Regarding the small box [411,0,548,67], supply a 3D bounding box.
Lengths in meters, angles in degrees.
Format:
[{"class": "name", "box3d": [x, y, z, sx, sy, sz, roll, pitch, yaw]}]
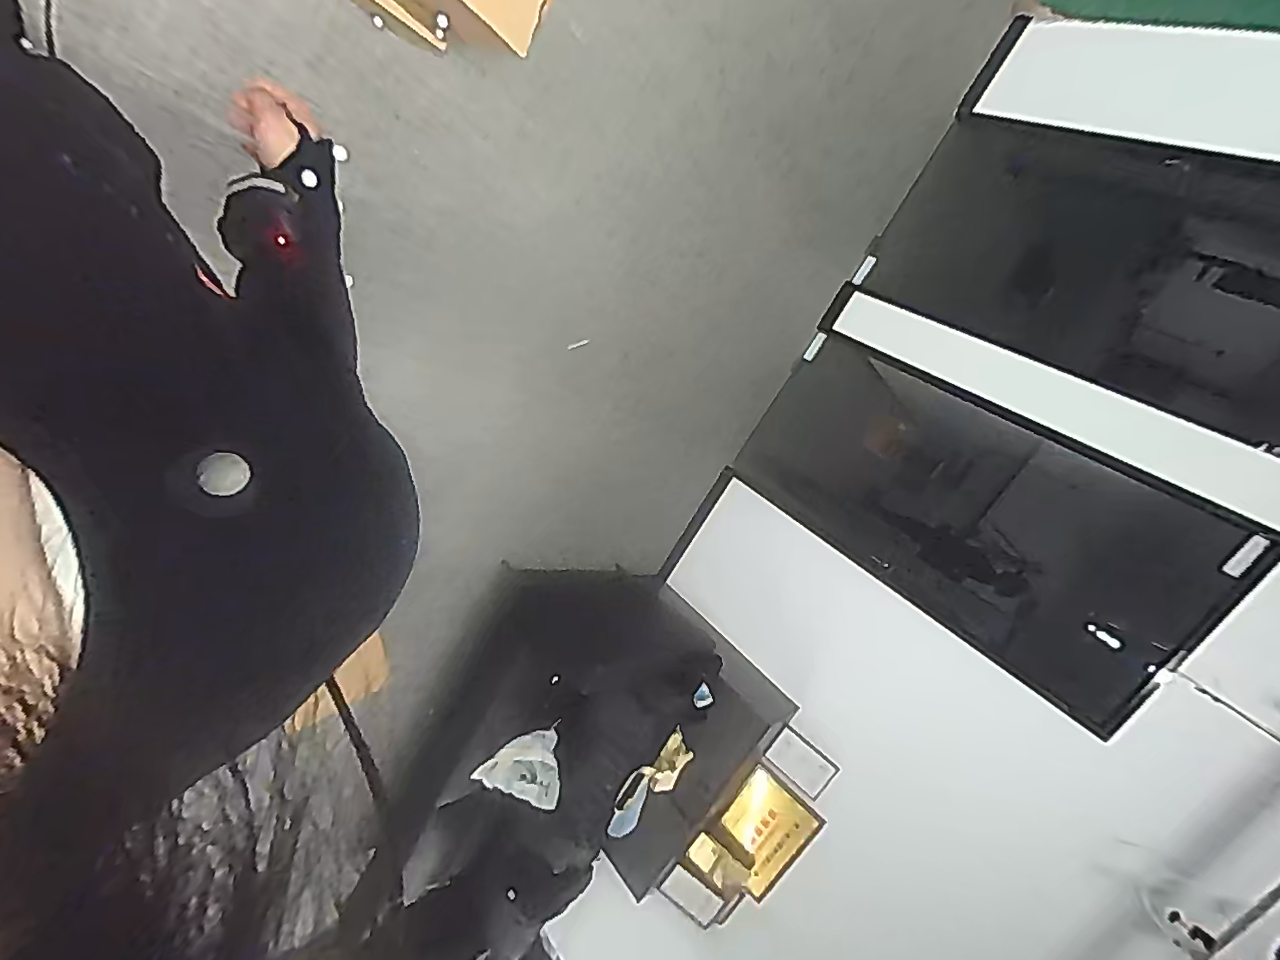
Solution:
[{"class": "small box", "box3d": [-0.265, -0.811, 0.859, 0.179, 0.176, 0.168, 11, 113, -54]}]

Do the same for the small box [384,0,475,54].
[{"class": "small box", "box3d": [-0.364, -0.904, 0.952, 0.179, 0.176, 0.168, 12, 112, -52]}]
